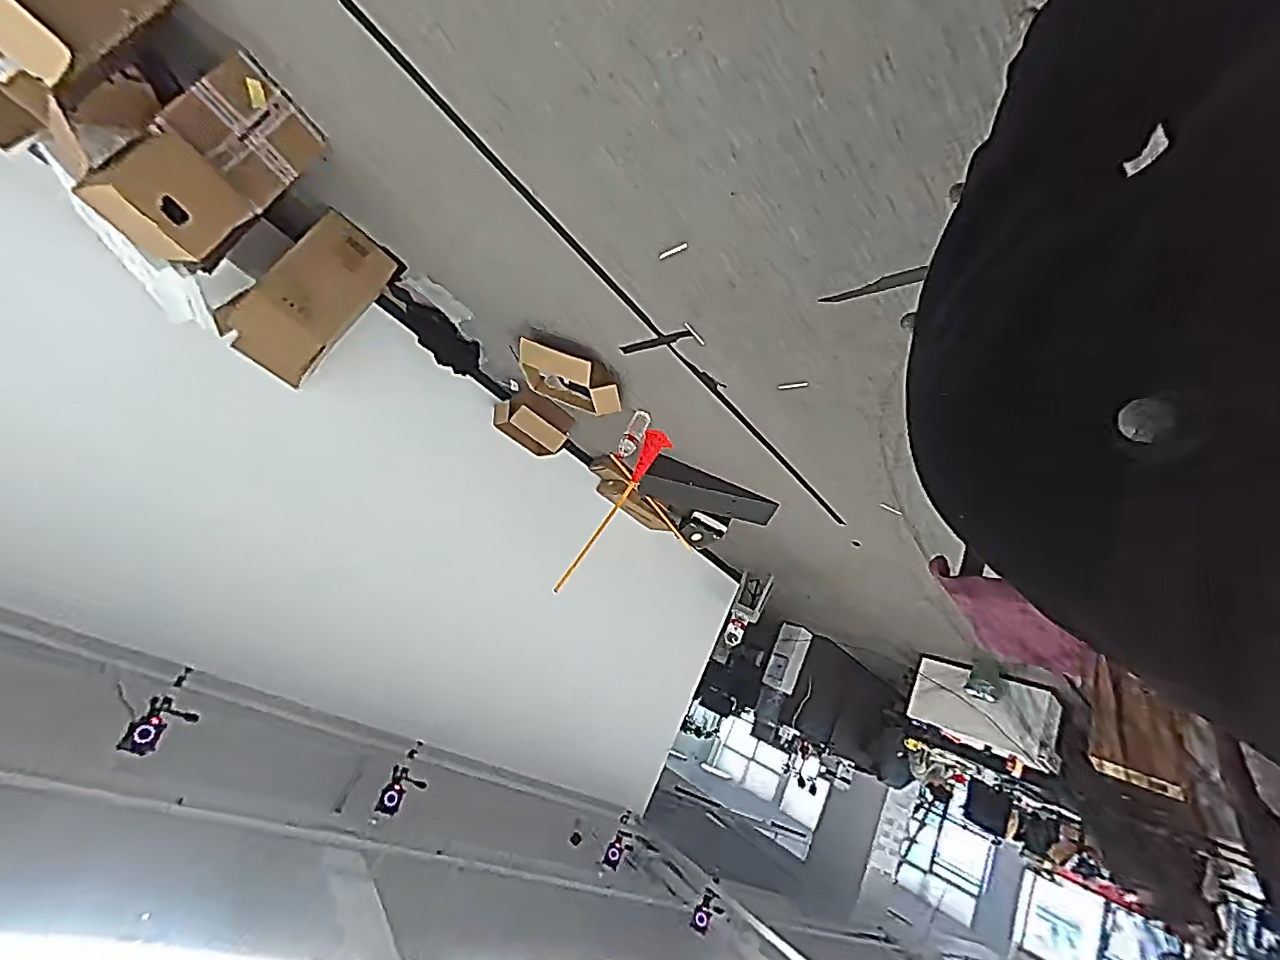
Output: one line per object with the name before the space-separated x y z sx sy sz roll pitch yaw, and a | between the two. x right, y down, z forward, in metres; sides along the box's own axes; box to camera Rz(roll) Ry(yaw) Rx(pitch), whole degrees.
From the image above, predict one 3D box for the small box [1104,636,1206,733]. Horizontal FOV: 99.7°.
small box | 1.363 0.533 1.428 0.168 0.176 0.179 41 159 -33
